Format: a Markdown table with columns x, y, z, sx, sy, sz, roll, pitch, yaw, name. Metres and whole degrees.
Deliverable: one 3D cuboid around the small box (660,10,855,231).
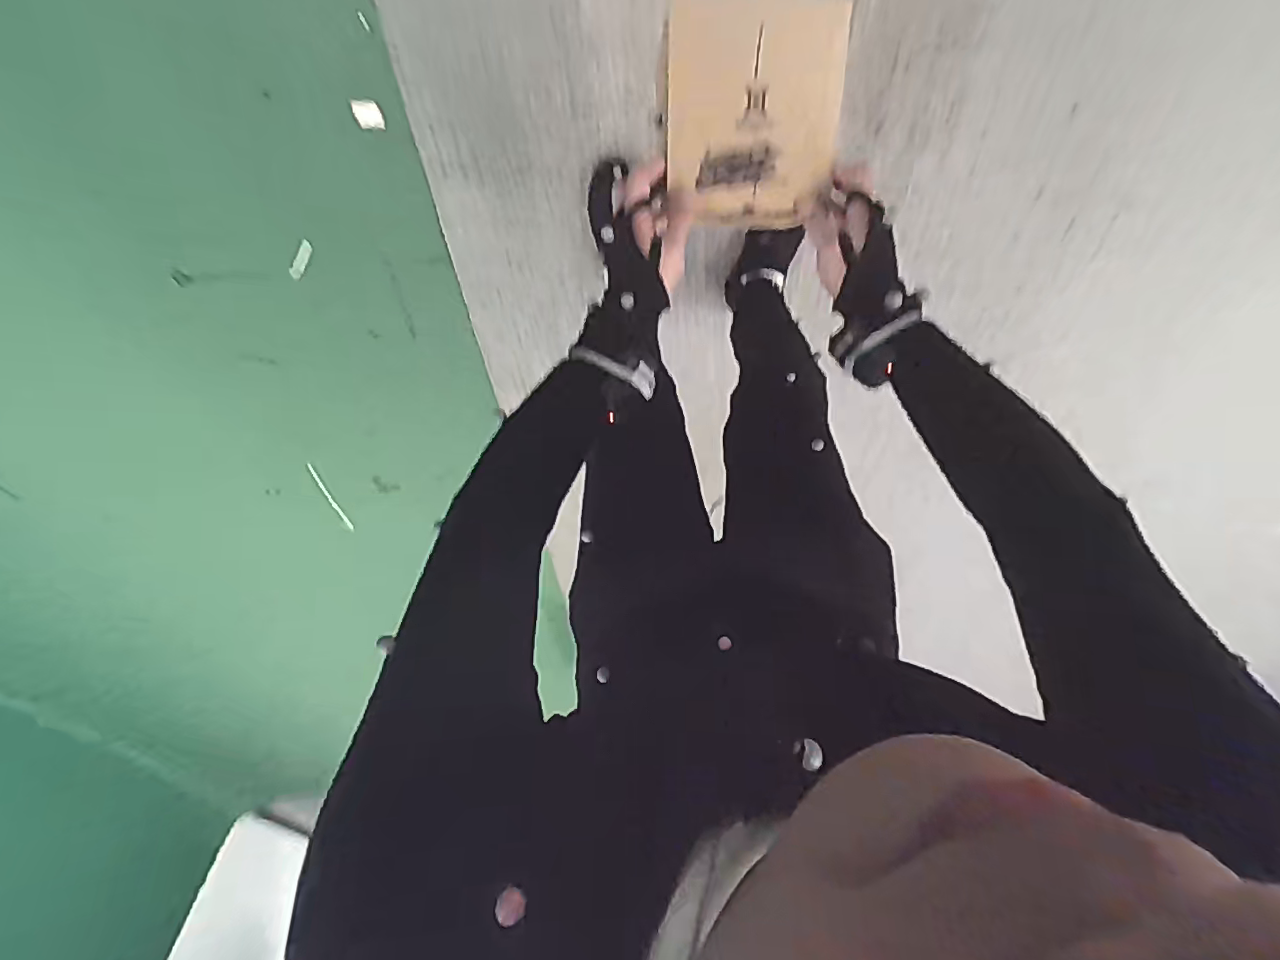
| x | y | z | sx | sy | sz | roll | pitch | yaw | name |
| --- | --- | --- | --- | --- | --- | --- | --- | --- | --- |
| 0.112 | -0.373 | 0.593 | 0.168 | 0.176 | 0.179 | -2 | 111 | -2 | small box |
